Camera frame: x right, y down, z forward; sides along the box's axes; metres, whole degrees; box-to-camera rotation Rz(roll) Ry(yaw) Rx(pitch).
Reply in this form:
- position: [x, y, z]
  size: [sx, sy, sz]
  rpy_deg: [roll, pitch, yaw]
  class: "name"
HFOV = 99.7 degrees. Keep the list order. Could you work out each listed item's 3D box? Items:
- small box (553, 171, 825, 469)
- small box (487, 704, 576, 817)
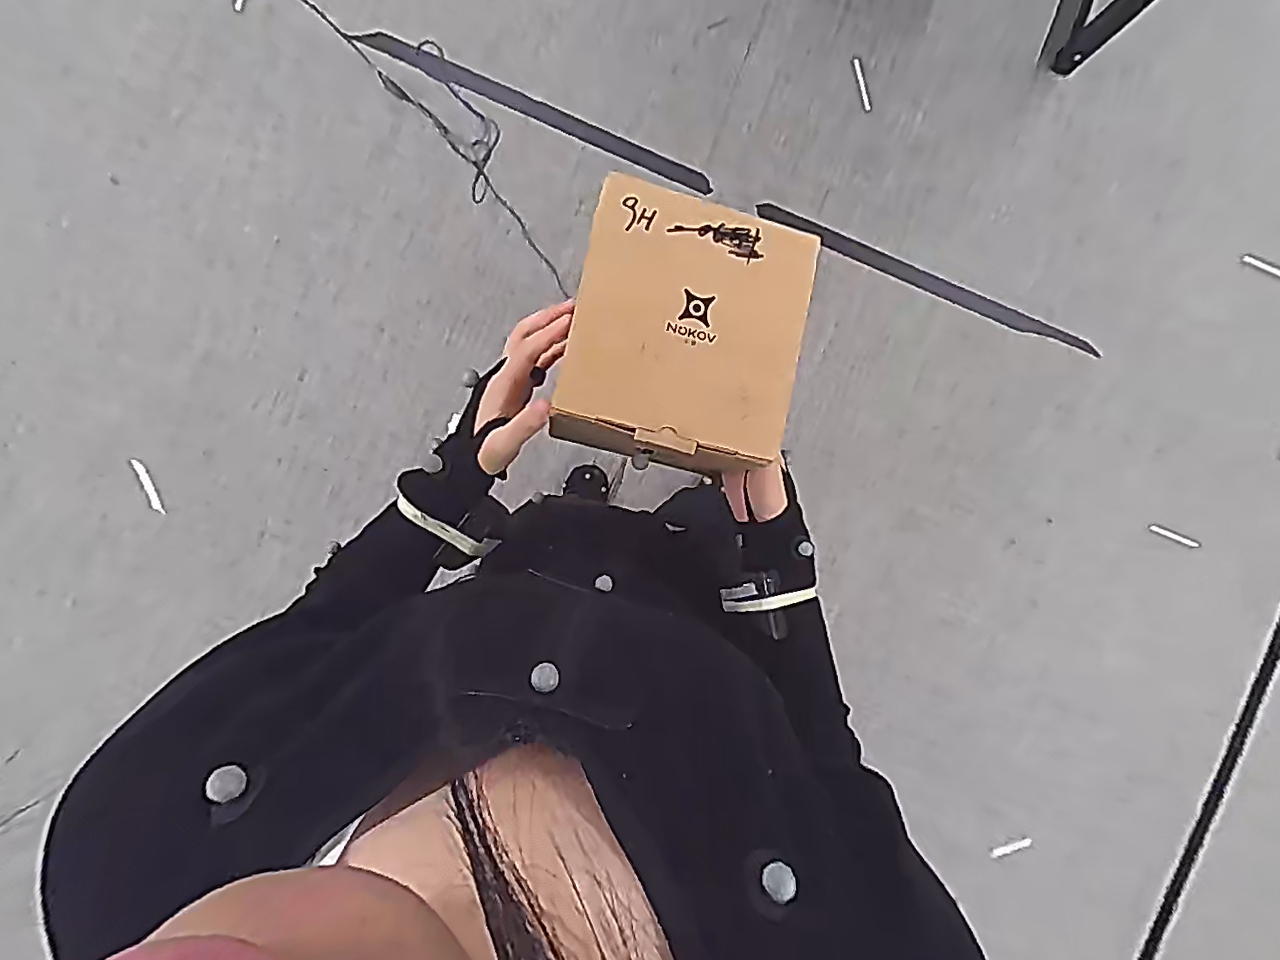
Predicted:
- position: [0.026, -0.110, 0.459]
  size: [0.168, 0.176, 0.179]
  rpy_deg: [14, 86, -10]
  class: "small box"
- position: [-0.275, 0.728, 1.419]
  size: [0.168, 0.176, 0.179]
  rpy_deg: [24, 91, -4]
  class: "small box"
